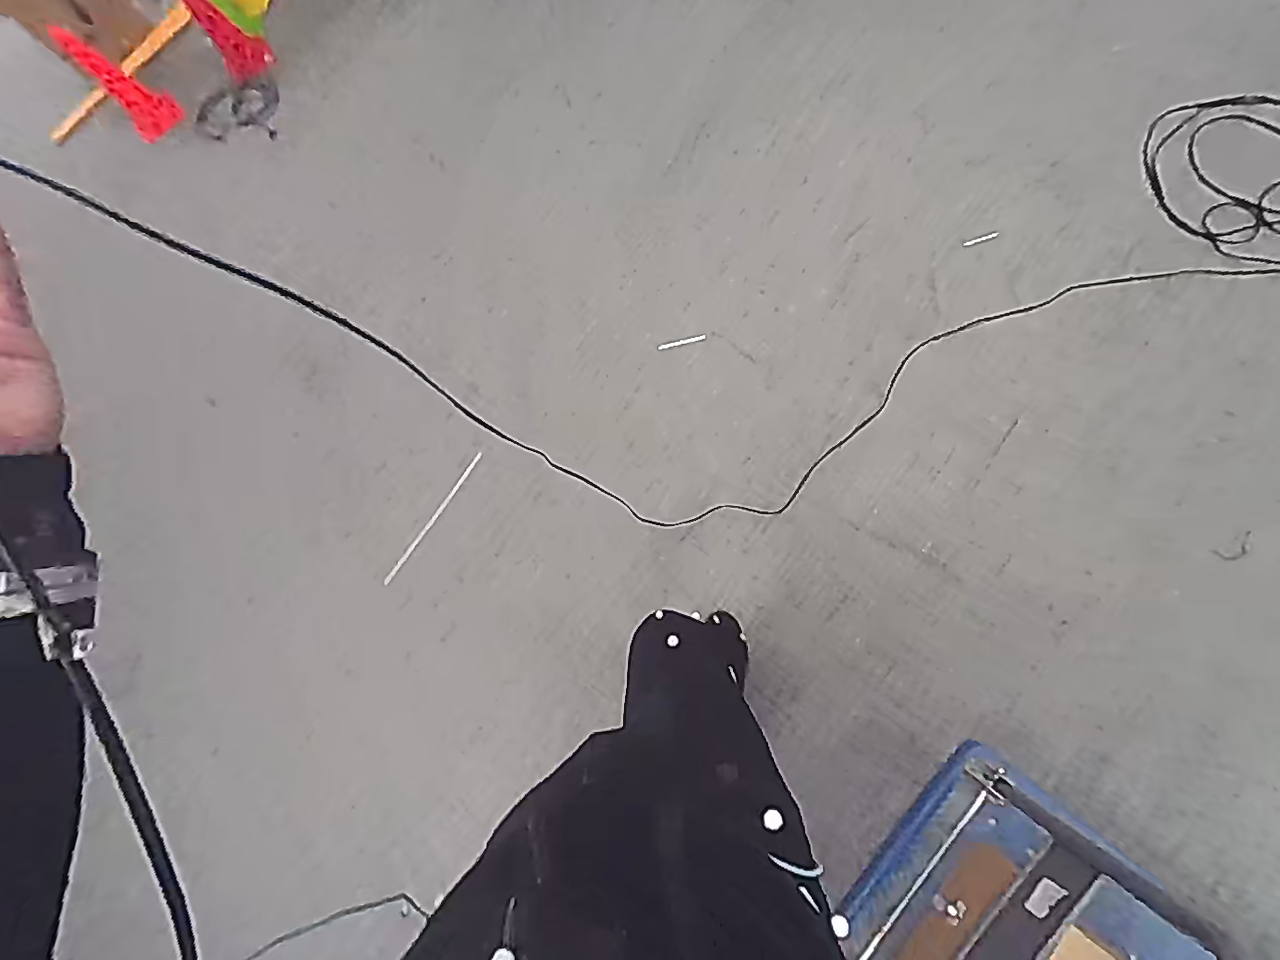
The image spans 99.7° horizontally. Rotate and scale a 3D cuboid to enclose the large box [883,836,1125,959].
[{"bbox_3d":[0.697,0.913,0.891,0.408,0.320,0.320,38,87,15],"label":"large box"}]
